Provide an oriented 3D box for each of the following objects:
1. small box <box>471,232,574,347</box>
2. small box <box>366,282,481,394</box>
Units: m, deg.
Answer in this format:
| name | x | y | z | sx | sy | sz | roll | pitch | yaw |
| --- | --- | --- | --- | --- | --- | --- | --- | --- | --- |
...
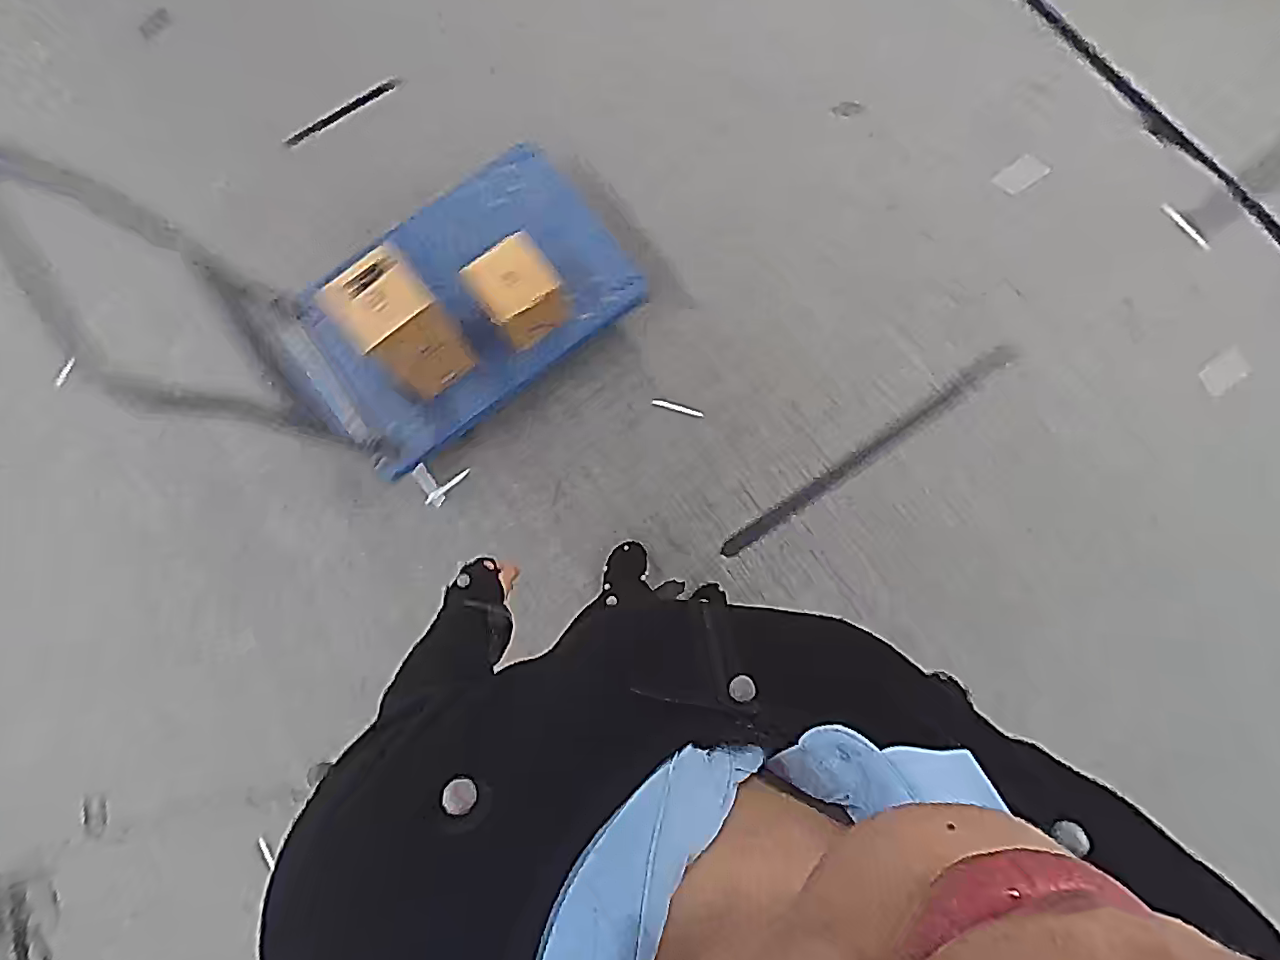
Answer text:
| name | x | y | z | sx | sy | sz | roll | pitch | yaw |
| --- | --- | --- | --- | --- | --- | --- | --- | --- | --- |
| small box | -0.286 | -0.468 | 1.352 | 0.168 | 0.176 | 0.179 | -36 | 82 | -3 |
| small box | -0.529 | -0.343 | 1.341 | 0.168 | 0.176 | 0.179 | -37 | 82 | -3 |
